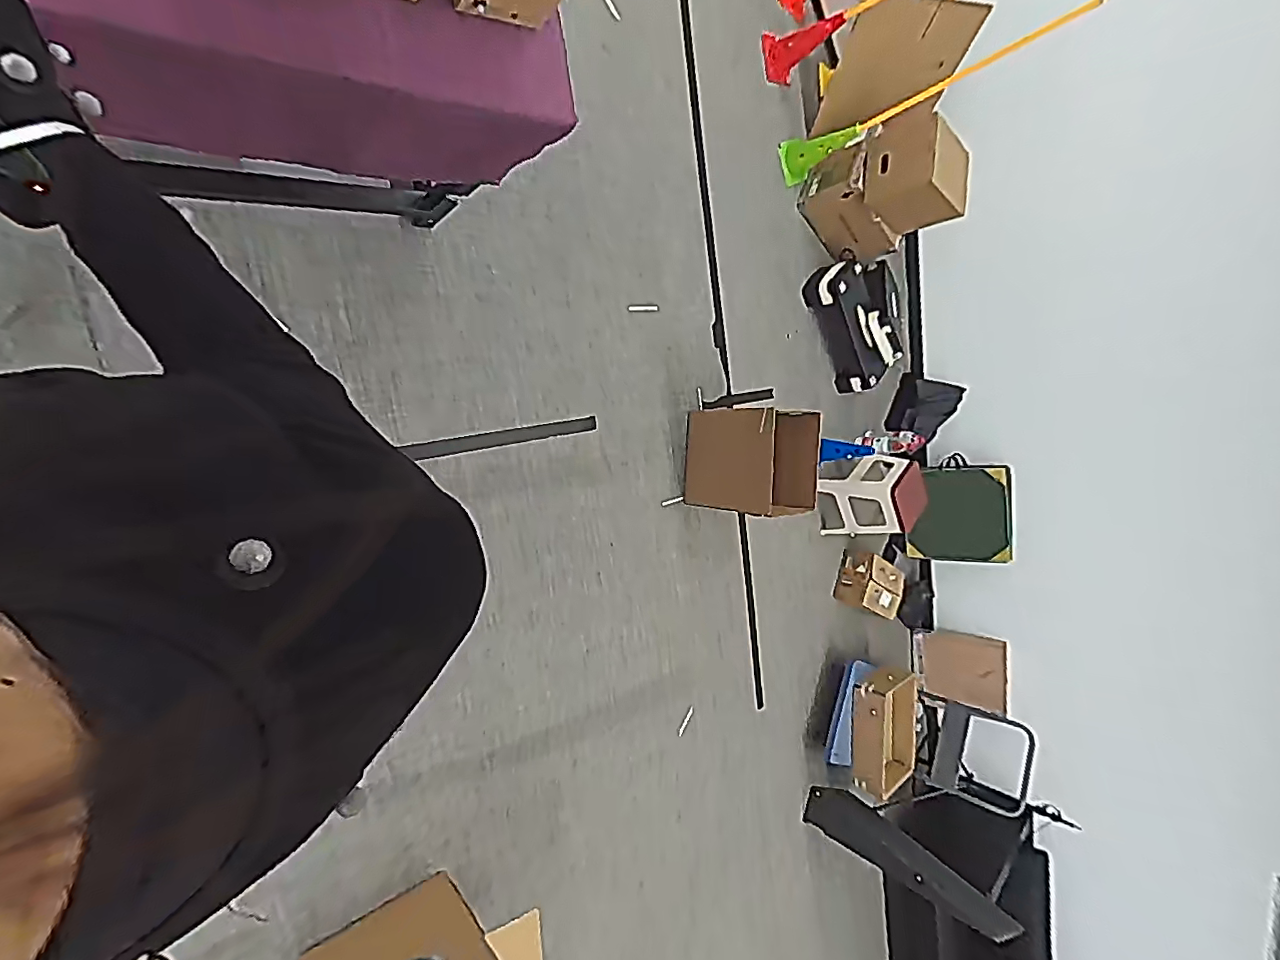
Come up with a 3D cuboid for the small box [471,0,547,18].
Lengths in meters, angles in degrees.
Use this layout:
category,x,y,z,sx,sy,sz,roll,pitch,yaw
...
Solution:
category,x,y,z,sx,sy,sz,roll,pitch,yaw
small box,-0.218,-0.894,0.863,0.168,0.176,0.179,-22,106,-37
